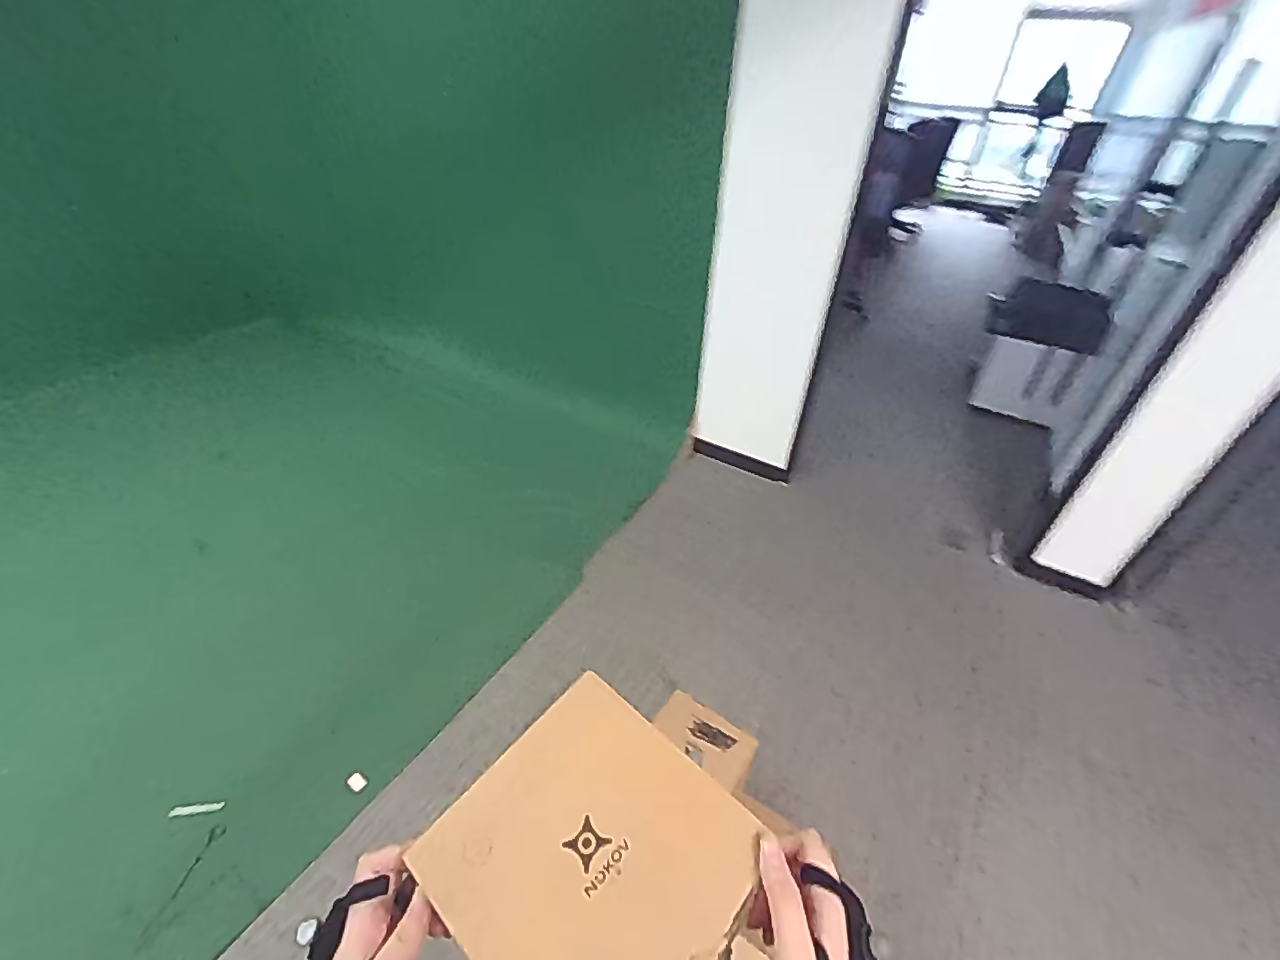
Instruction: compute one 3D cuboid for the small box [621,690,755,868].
[{"bbox_3d":[0.077,0.517,0.944,0.168,0.176,0.179,24,40,26],"label":"small box"}]
